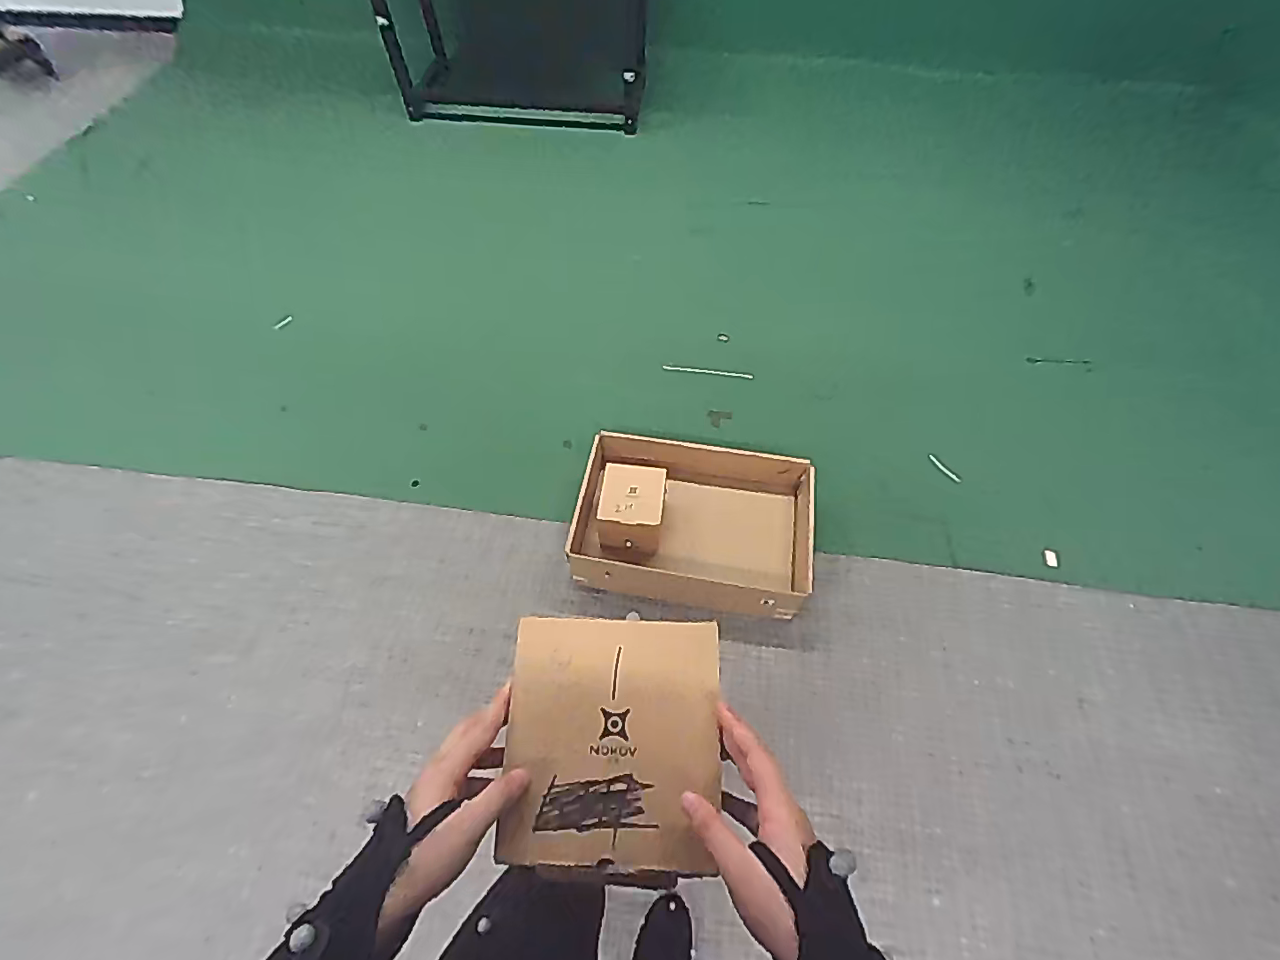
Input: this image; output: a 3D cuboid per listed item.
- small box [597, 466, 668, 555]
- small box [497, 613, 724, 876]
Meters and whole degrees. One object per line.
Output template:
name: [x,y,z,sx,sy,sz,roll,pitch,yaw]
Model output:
small box: [-0.019,0.085,1.470,0.168,0.176,0.179,6,59,4]
small box: [-0.016,0.222,0.488,0.168,0.176,0.179,2,69,2]
